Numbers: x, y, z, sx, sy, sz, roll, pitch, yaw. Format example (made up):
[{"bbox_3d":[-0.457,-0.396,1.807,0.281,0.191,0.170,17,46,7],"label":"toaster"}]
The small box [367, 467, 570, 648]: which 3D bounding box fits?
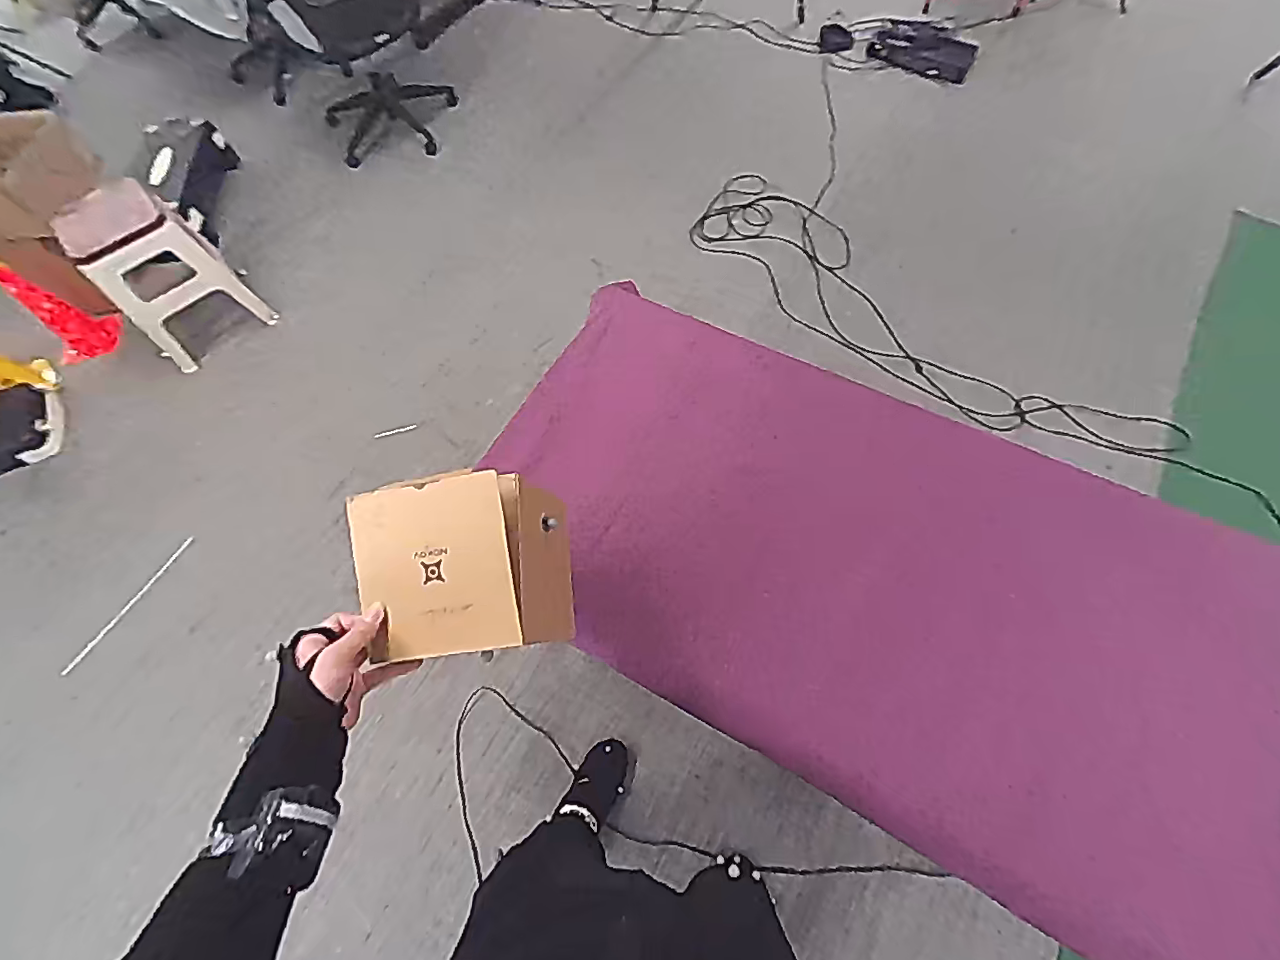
[{"bbox_3d":[-0.186,0.096,0.630,0.168,0.176,0.179,-7,76,10],"label":"small box"}]
